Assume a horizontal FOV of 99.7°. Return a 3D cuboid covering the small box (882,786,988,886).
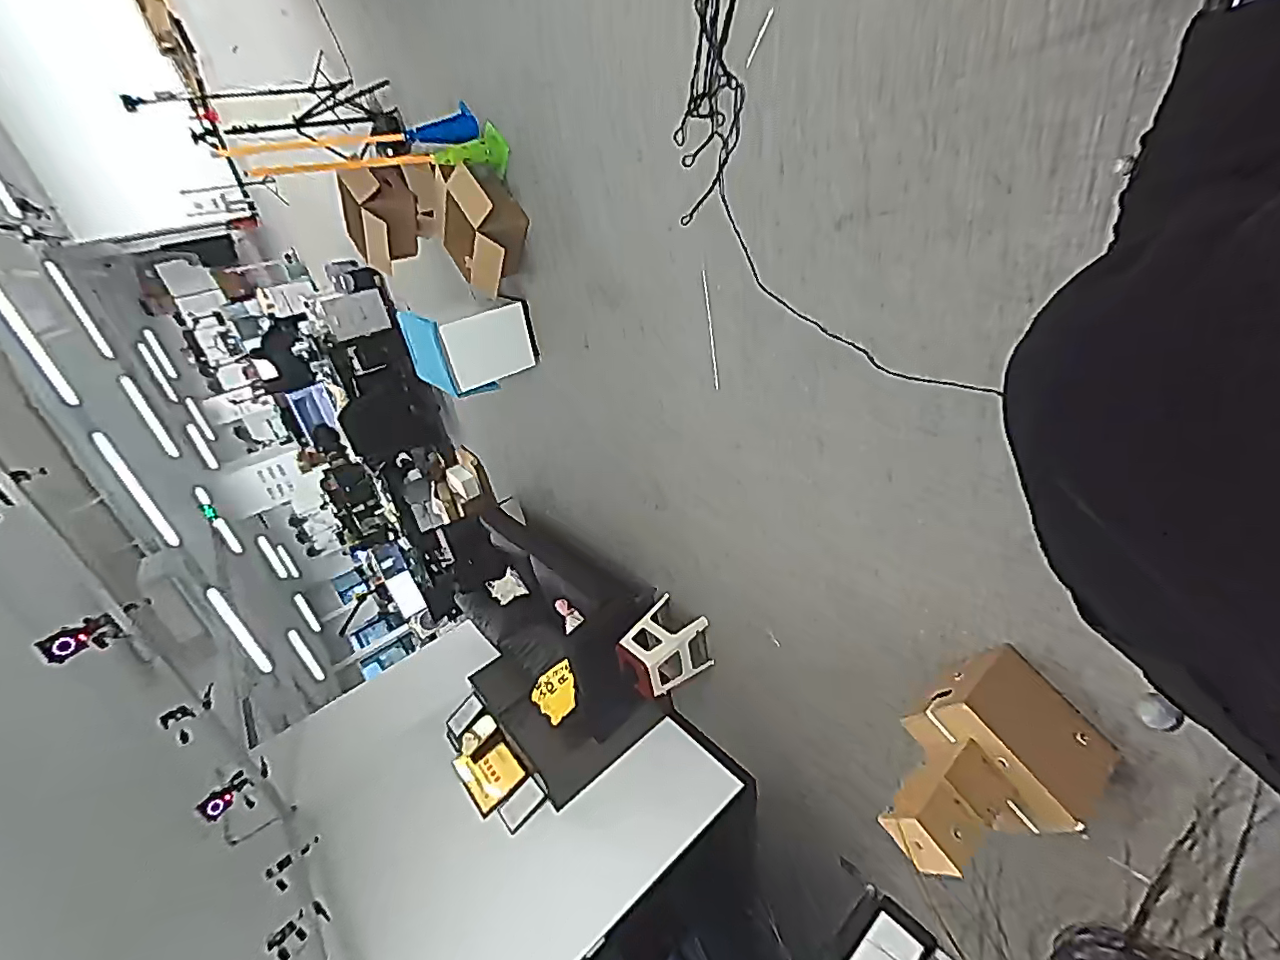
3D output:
[{"bbox_3d":[0.824,0.980,1.502,0.168,0.176,0.179,50,150,19],"label":"small box"}]
